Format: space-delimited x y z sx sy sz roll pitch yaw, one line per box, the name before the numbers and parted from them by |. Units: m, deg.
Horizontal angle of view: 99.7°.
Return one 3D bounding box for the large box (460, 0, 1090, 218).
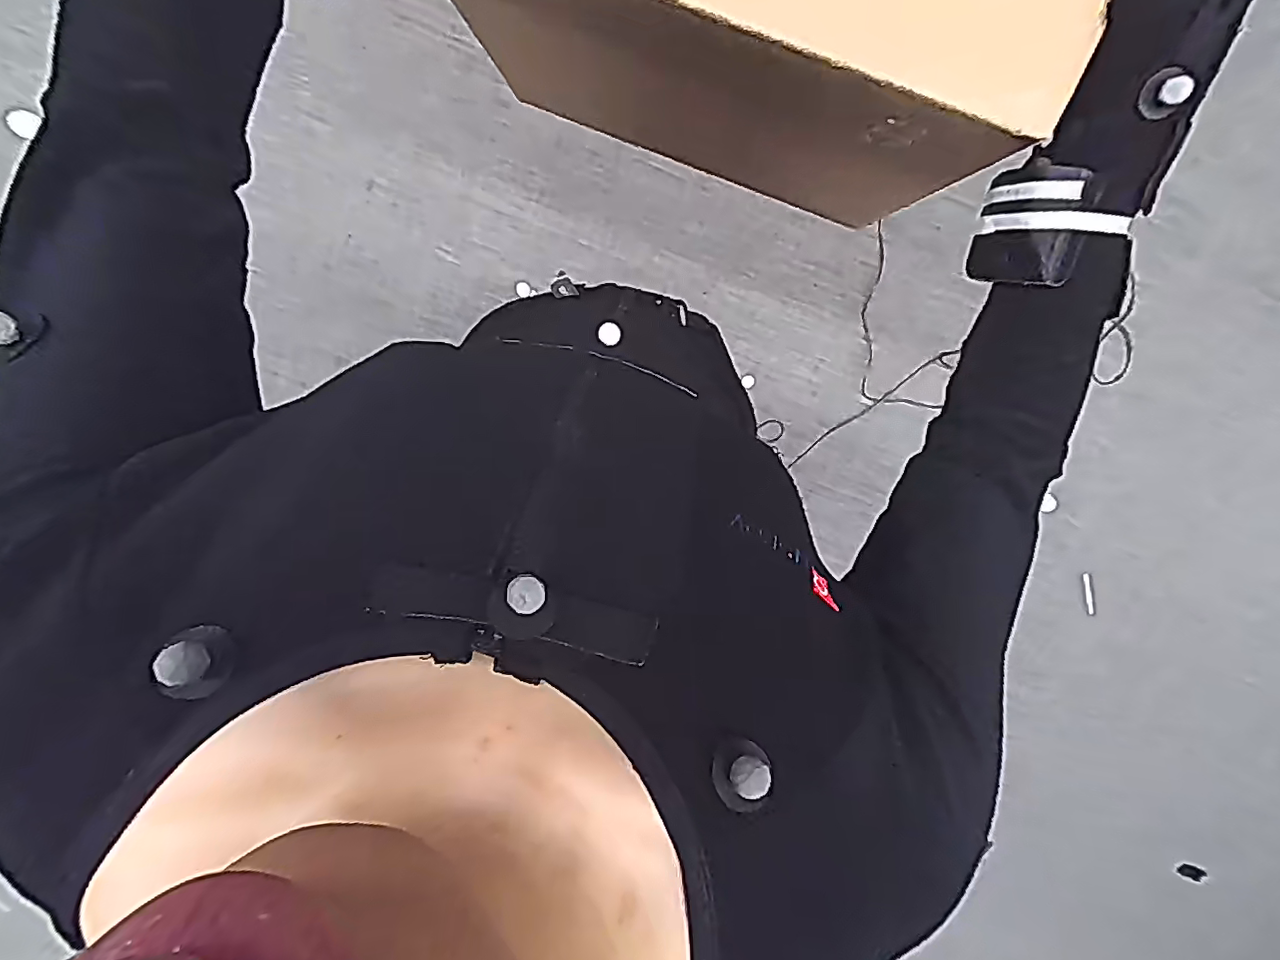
large box | 0.096 -0.448 0.413 0.408 0.320 0.320 19 107 -3
